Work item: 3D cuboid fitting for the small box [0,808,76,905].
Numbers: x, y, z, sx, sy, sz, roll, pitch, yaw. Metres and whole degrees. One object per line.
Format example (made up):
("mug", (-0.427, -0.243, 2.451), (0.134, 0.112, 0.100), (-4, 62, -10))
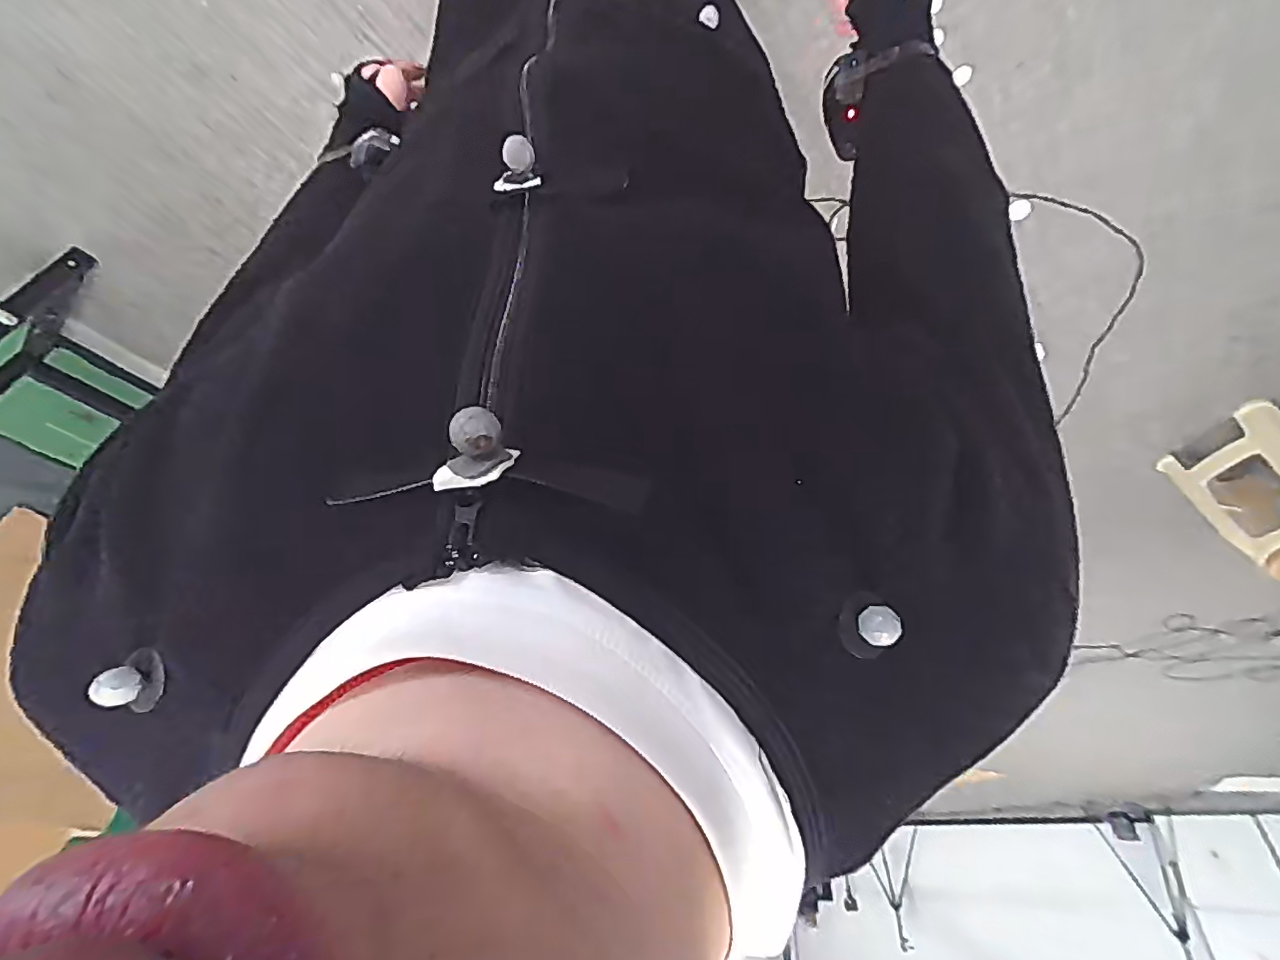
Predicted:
("small box", (-1.460, 0.854, 1.228), (0.168, 0.176, 0.179), (-22, 134, 26))
